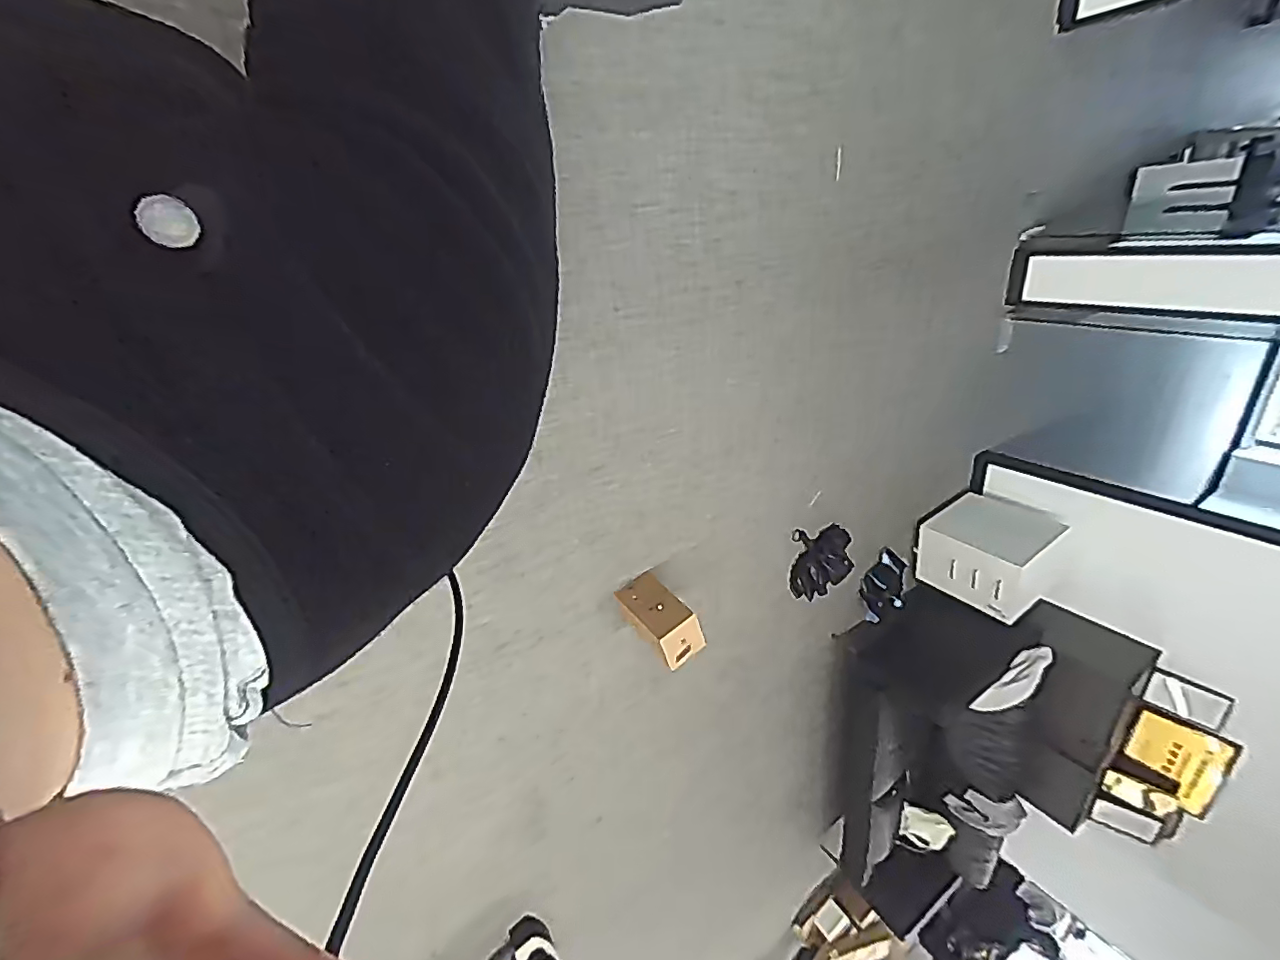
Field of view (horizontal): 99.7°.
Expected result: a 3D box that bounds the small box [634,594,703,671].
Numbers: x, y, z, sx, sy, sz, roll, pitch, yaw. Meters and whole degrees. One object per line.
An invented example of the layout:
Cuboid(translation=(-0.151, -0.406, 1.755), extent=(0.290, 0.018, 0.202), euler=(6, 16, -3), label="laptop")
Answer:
Cuboid(translation=(0.102, 0.554, 1.988), extent=(0.168, 0.176, 0.179), euler=(-32, 123, -20), label="small box")

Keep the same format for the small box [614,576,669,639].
Cuboid(translation=(0.019, 0.499, 2.120), extent=(0.168, 0.176, 0.179), euler=(-33, 126, -19), label="small box")
